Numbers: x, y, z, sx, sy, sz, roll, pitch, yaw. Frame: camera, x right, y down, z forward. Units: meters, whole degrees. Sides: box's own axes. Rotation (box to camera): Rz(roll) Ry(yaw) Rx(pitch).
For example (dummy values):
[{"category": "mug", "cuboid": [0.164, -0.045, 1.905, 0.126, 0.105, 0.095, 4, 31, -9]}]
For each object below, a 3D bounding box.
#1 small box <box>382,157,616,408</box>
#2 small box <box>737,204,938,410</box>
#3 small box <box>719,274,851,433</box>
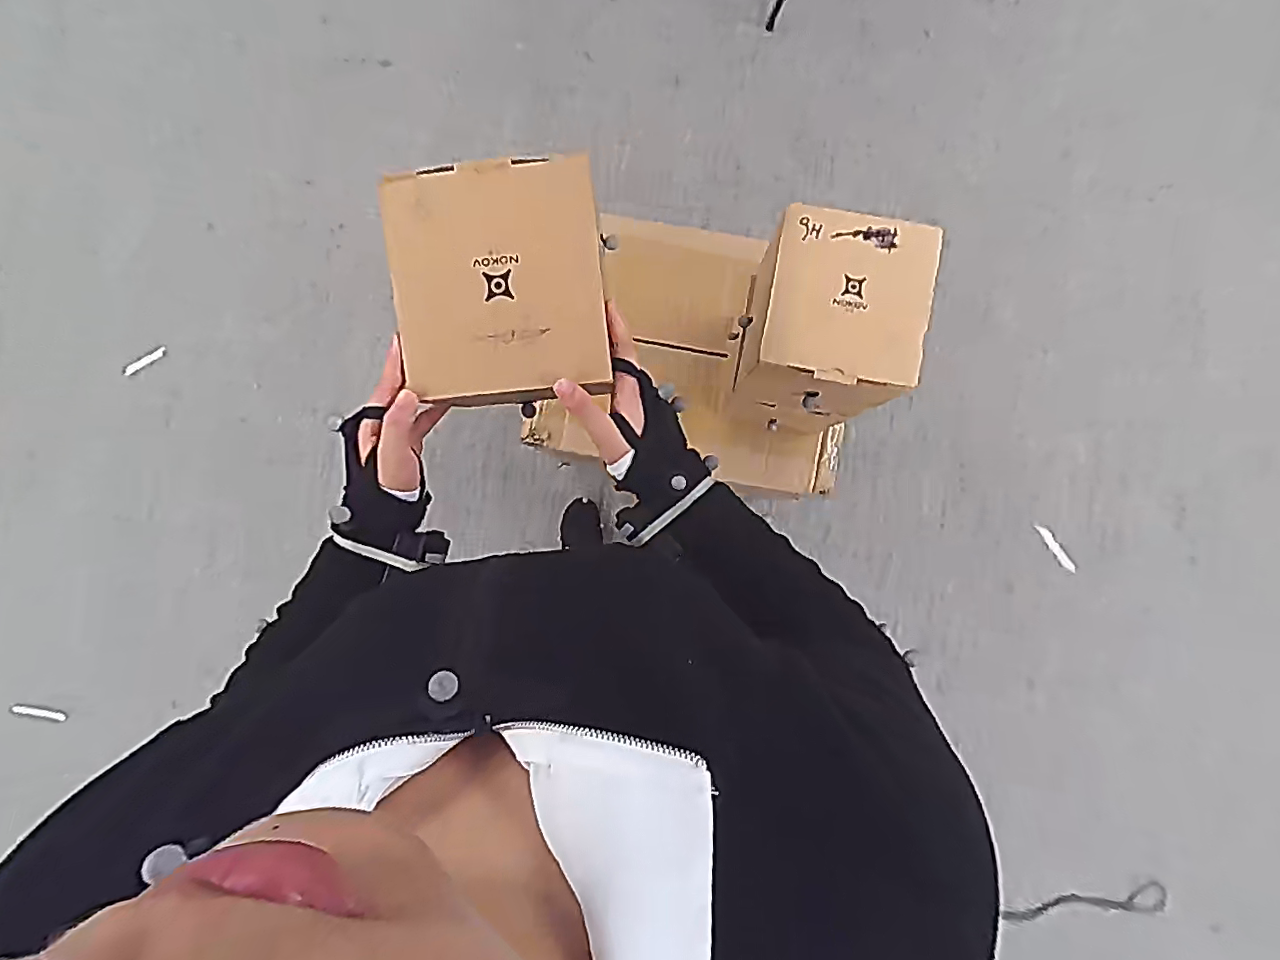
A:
[{"category": "small box", "cuboid": [-0.113, -0.164, 0.504, 0.168, 0.176, 0.179, -6, 96, 0]}, {"category": "small box", "cuboid": [0.218, -0.189, 0.643, 0.168, 0.176, 0.179, 11, 88, 2]}, {"category": "small box", "cuboid": [0.217, -0.178, 0.807, 0.168, 0.176, 0.179, 10, 88, 2]}]
